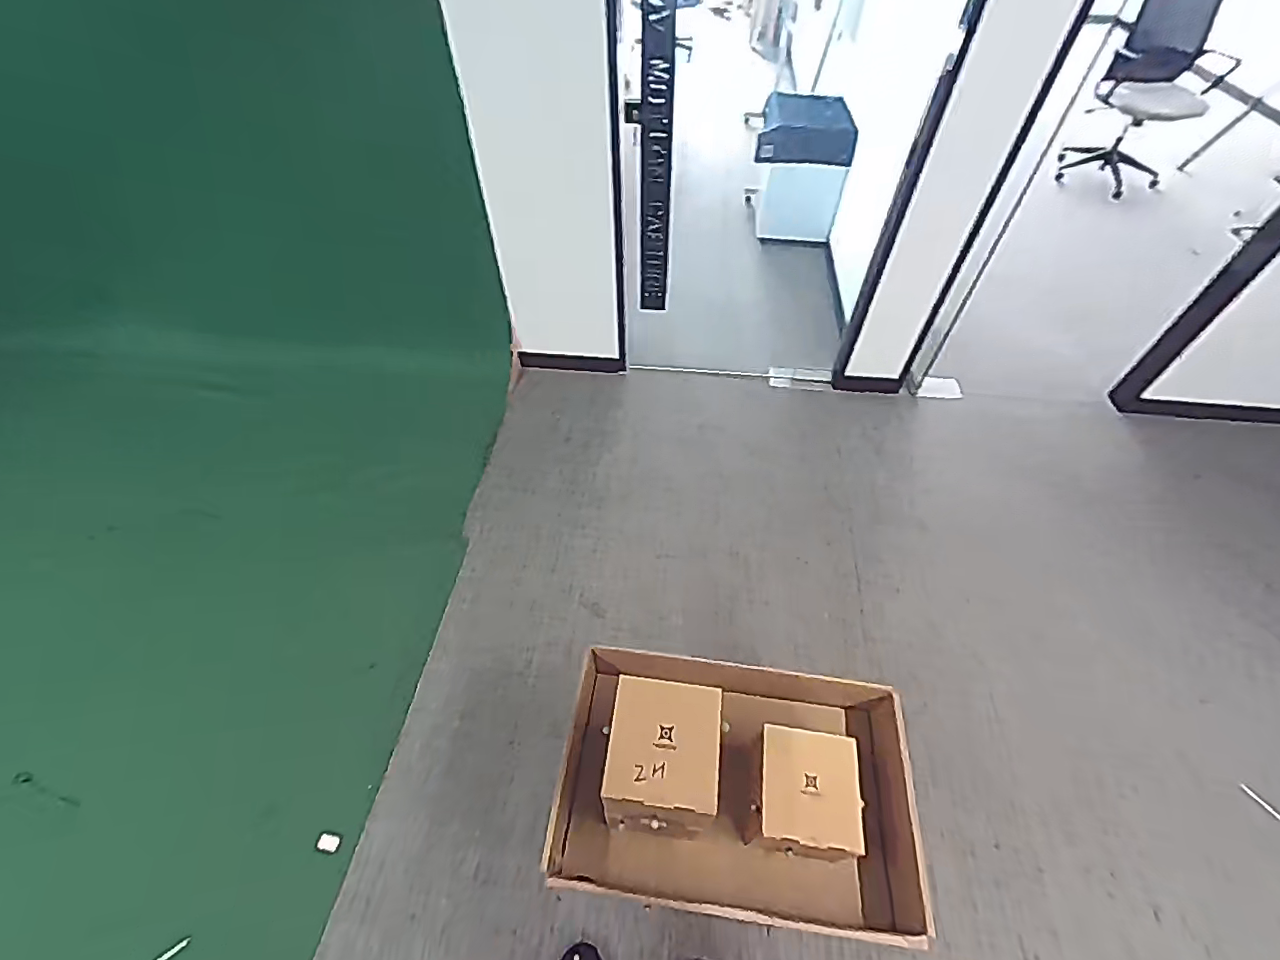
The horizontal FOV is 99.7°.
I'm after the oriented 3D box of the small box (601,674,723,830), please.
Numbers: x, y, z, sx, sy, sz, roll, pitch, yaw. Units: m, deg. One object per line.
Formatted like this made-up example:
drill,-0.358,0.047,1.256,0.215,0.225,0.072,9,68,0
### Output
small box,0.035,0.435,0.862,0.168,0.176,0.179,7,52,5
